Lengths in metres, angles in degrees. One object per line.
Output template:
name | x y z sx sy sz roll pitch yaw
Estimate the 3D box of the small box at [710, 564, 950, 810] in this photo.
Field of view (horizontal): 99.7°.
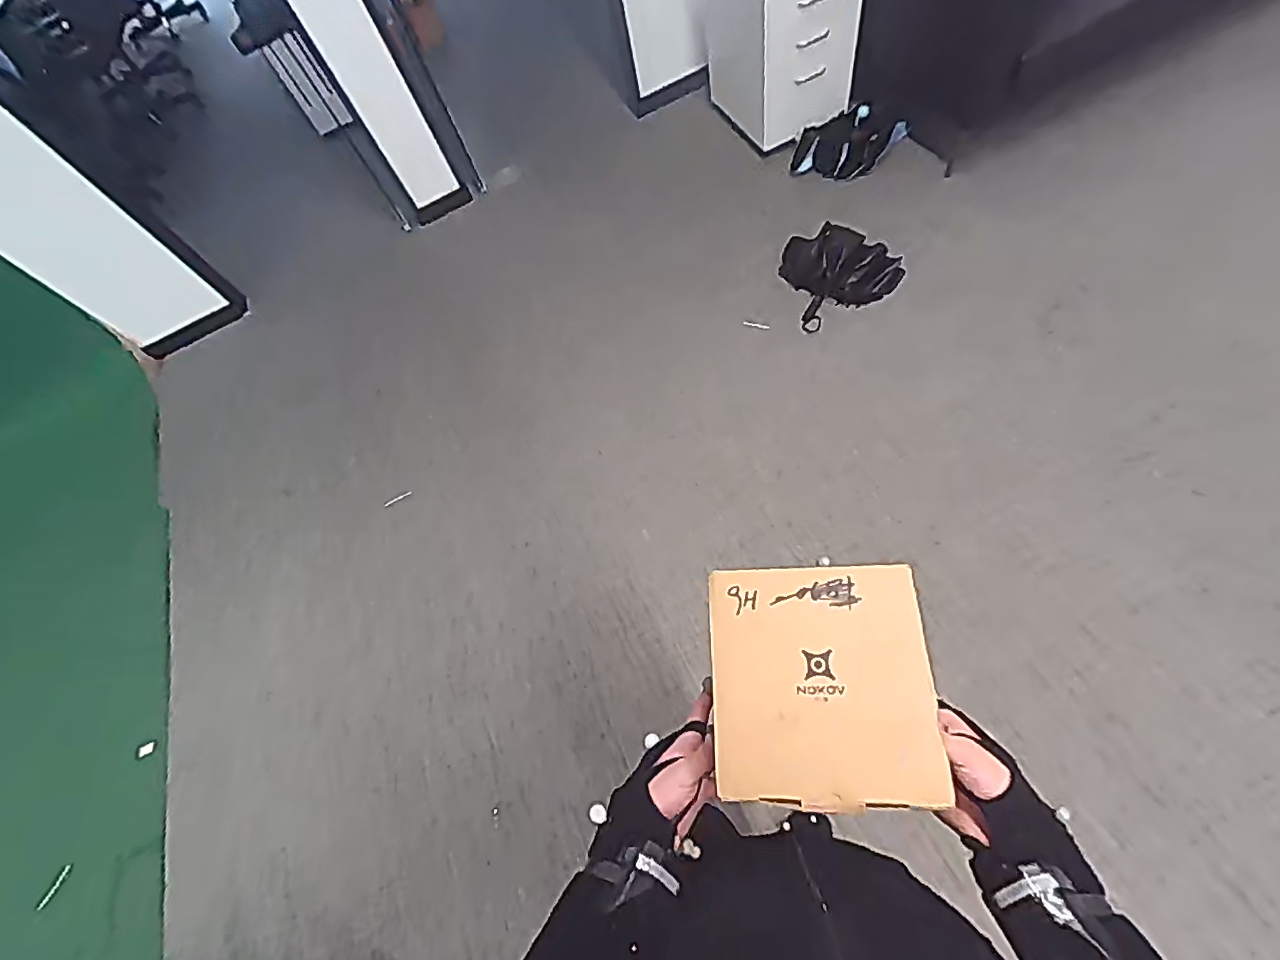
small box | 0.151 0.180 0.491 0.168 0.176 0.179 -2 68 8
